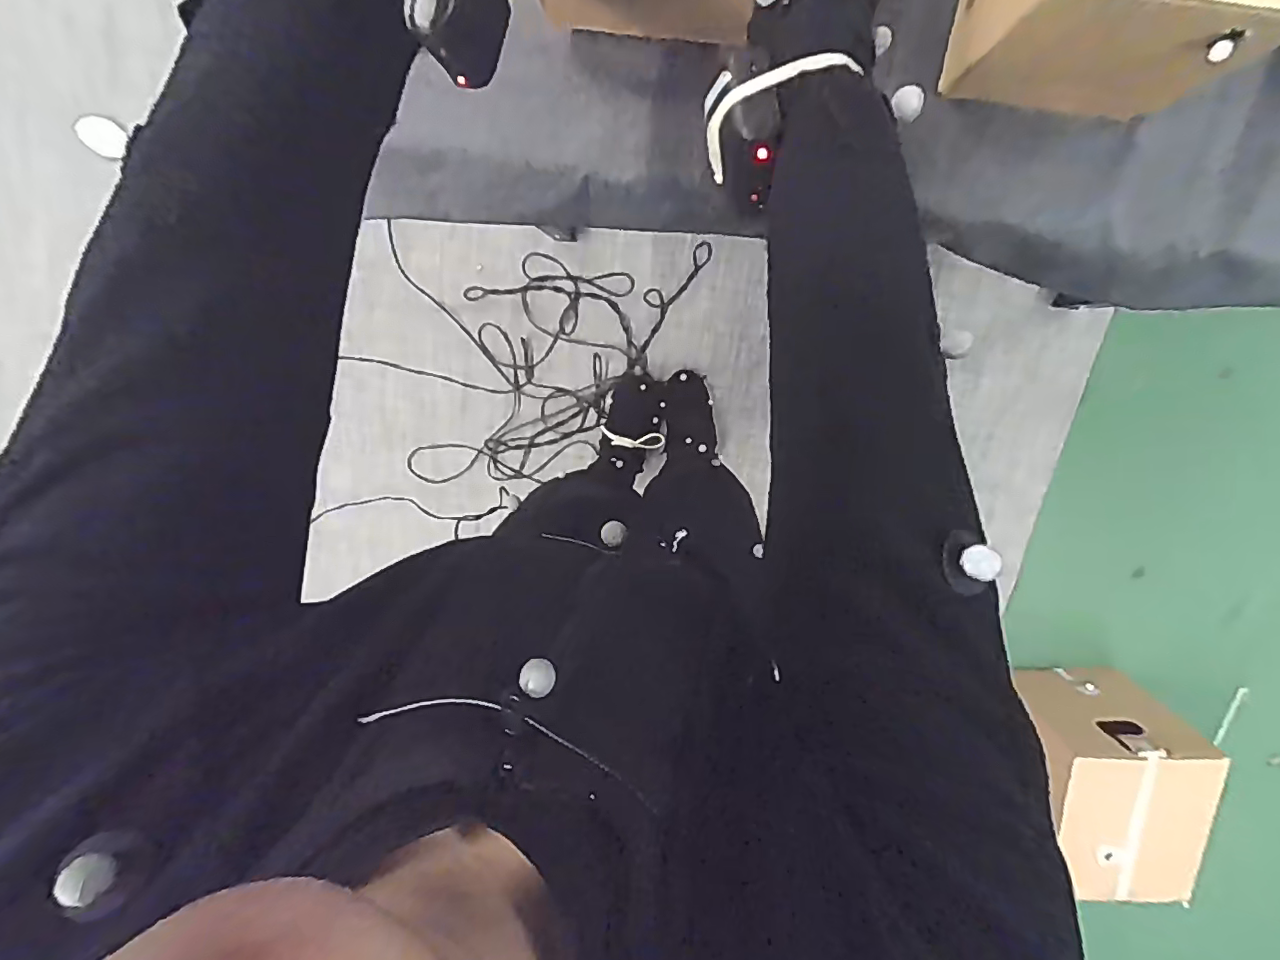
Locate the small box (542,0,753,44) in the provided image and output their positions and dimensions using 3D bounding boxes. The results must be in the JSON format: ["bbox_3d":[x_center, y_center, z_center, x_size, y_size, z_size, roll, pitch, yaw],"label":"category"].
[{"bbox_3d":[0.008,-0.430,0.368,0.179,0.176,0.168,6,114,0],"label":"small box"}]

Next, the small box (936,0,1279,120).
[{"bbox_3d":[0.352,-0.391,0.392,0.179,0.176,0.168,8,105,1],"label":"small box"}]
